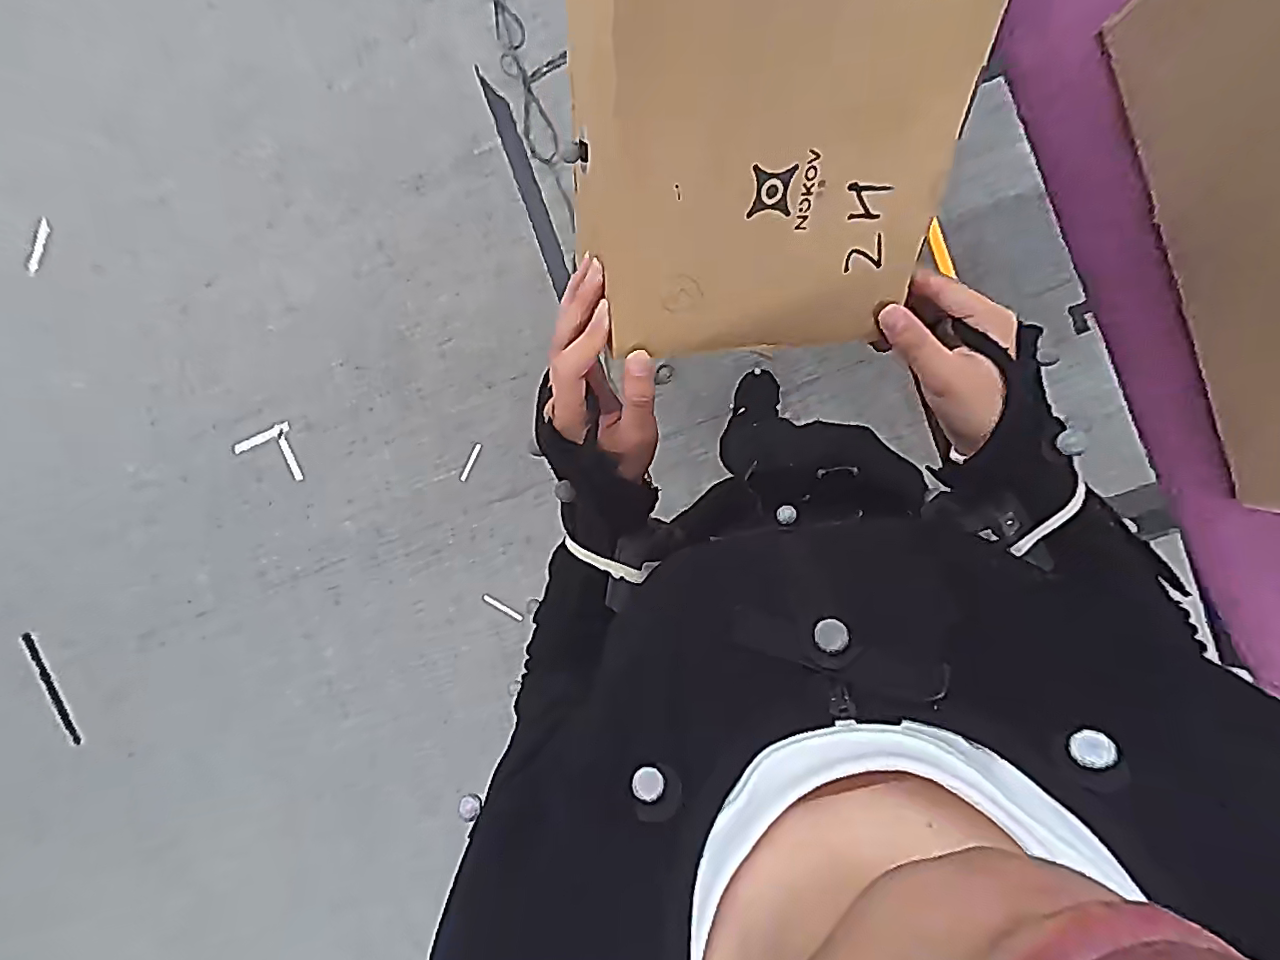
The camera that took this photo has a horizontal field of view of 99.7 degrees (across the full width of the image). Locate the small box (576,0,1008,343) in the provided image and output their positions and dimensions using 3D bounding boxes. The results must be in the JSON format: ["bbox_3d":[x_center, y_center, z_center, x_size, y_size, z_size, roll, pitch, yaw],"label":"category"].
[{"bbox_3d":[0.056,-0.196,0.321,0.179,0.176,0.168,-6,130,-11],"label":"small box"}]
